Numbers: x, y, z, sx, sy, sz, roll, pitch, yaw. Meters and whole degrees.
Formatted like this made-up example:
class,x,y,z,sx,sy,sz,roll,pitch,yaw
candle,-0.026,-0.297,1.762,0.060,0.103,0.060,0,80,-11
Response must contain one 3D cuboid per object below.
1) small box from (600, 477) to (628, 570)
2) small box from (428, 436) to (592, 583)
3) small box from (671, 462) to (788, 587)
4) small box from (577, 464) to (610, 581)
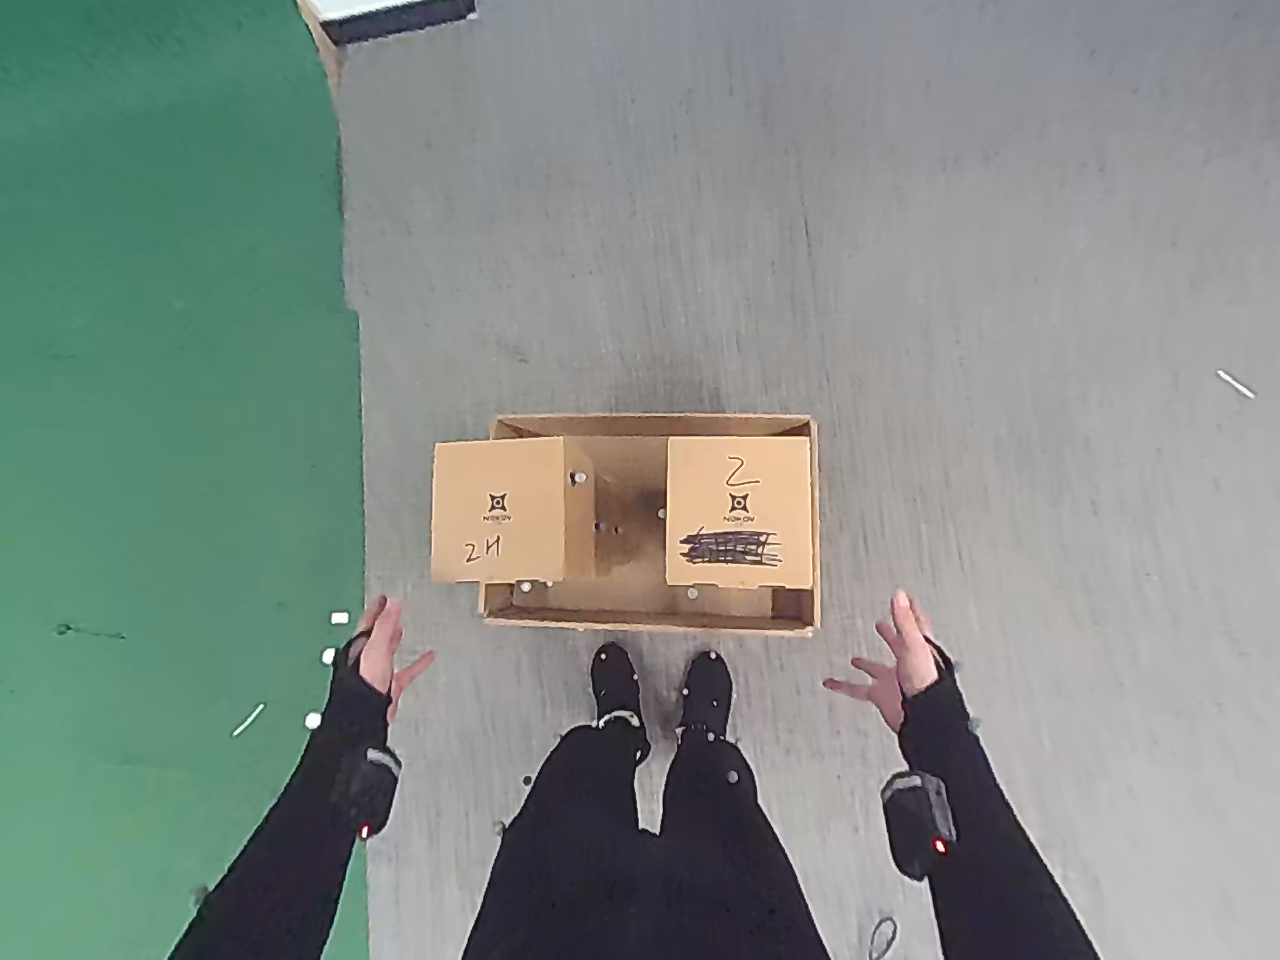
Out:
class,x,y,z,sx,sy,sz,roll,pitch,yaw
small box,-0.121,0.089,1.044,0.179,0.176,0.168,-1,81,5
small box,-0.161,0.046,0.721,0.168,0.176,0.179,-2,81,6
small box,0.137,0.073,0.849,0.168,0.176,0.179,1,81,6
small box,-0.143,0.077,0.883,0.168,0.176,0.179,-3,81,5
